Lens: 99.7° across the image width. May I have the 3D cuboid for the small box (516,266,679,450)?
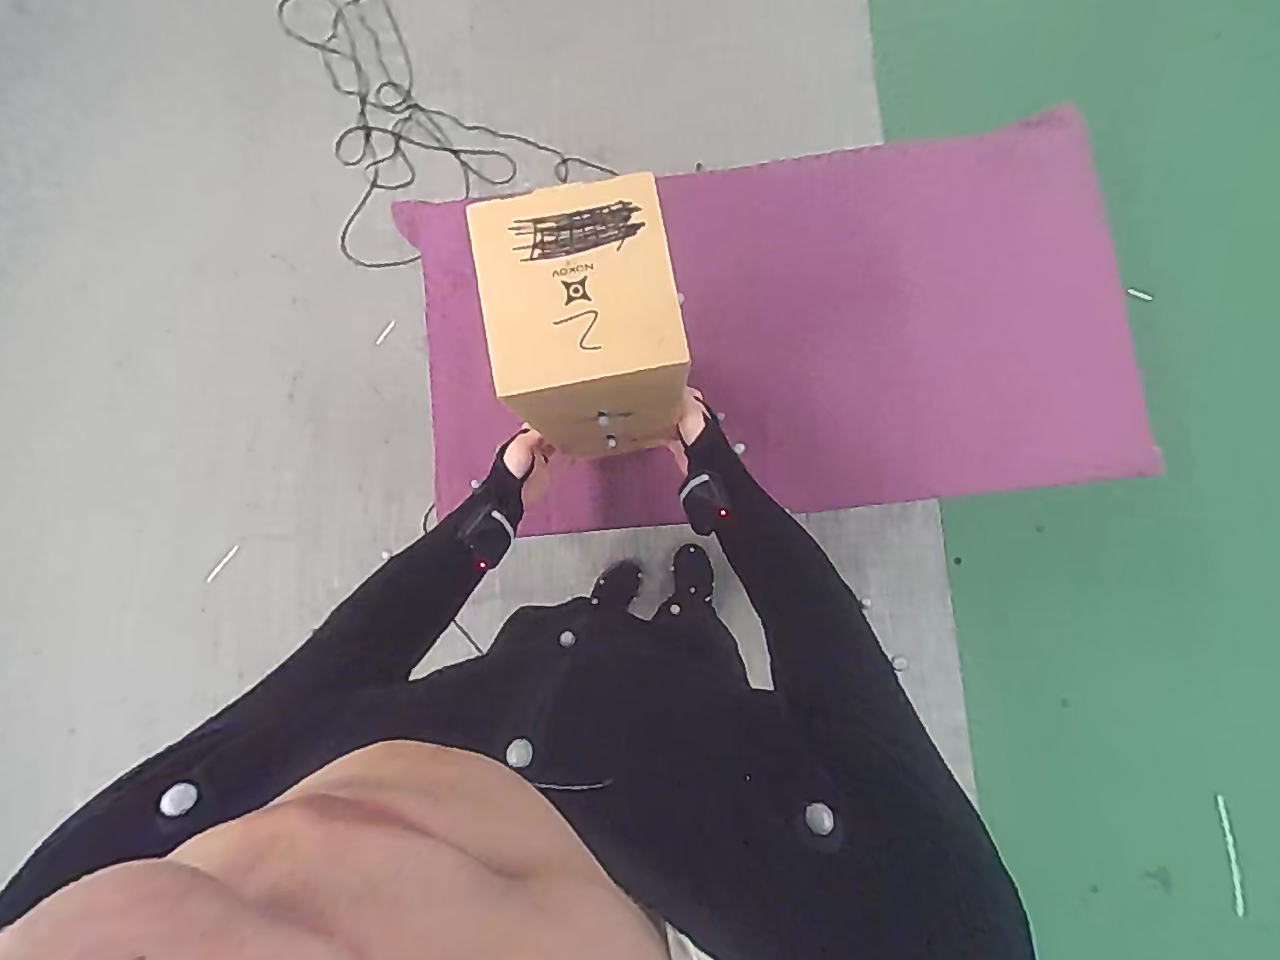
[{"bbox_3d":[-0.046,-0.139,0.687,0.168,0.176,0.179,-10,84,0],"label":"small box"}]
